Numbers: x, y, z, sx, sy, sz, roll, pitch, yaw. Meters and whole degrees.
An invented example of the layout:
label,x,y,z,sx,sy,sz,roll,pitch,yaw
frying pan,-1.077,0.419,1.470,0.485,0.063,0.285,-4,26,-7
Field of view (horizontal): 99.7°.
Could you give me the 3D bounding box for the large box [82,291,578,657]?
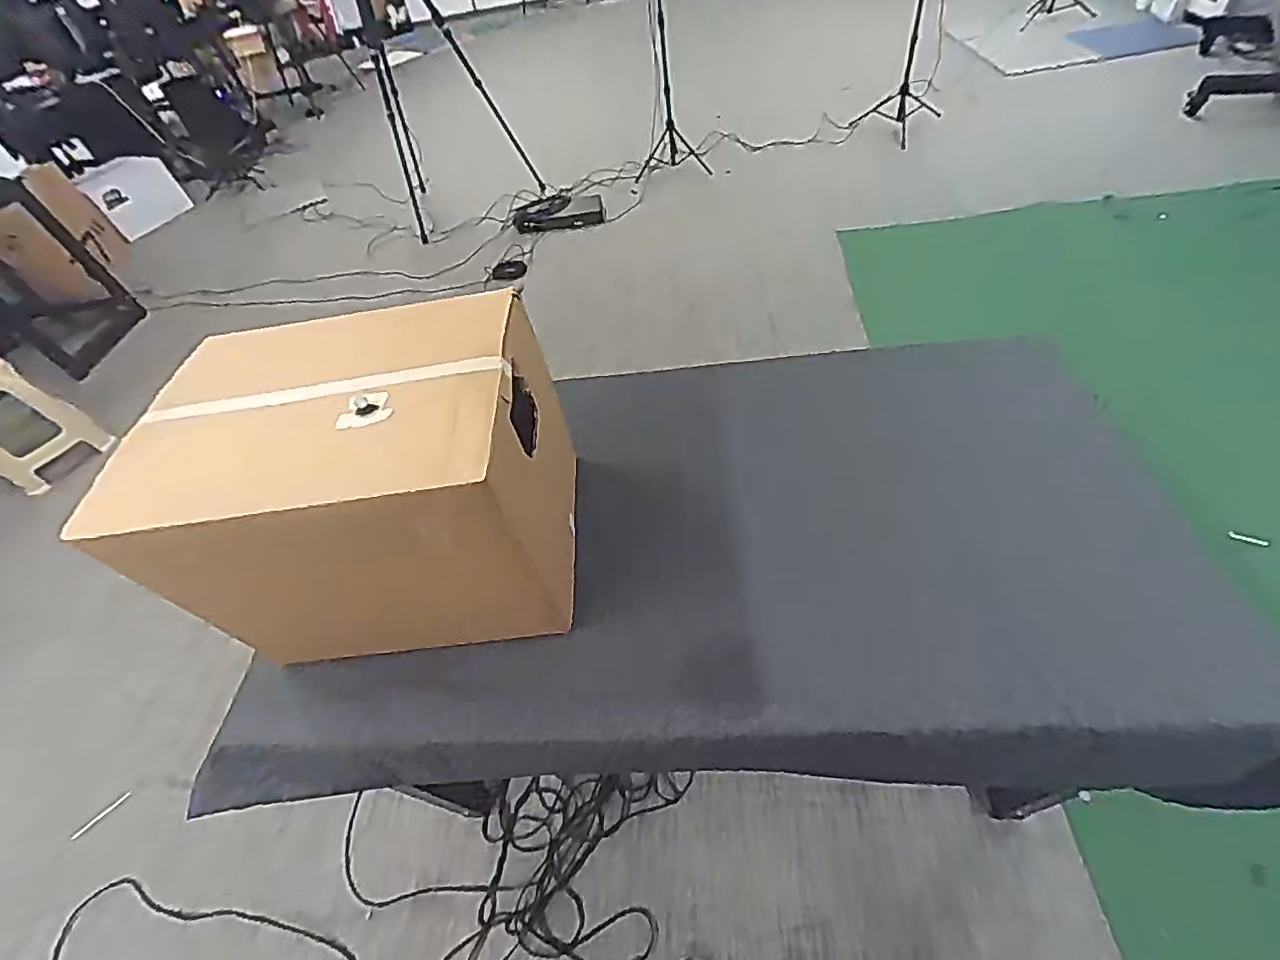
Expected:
label,x,y,z,sx,sy,sz,roll,pitch,yaw
large box,-0.307,0.002,0.691,0.408,0.320,0.320,-7,50,3
